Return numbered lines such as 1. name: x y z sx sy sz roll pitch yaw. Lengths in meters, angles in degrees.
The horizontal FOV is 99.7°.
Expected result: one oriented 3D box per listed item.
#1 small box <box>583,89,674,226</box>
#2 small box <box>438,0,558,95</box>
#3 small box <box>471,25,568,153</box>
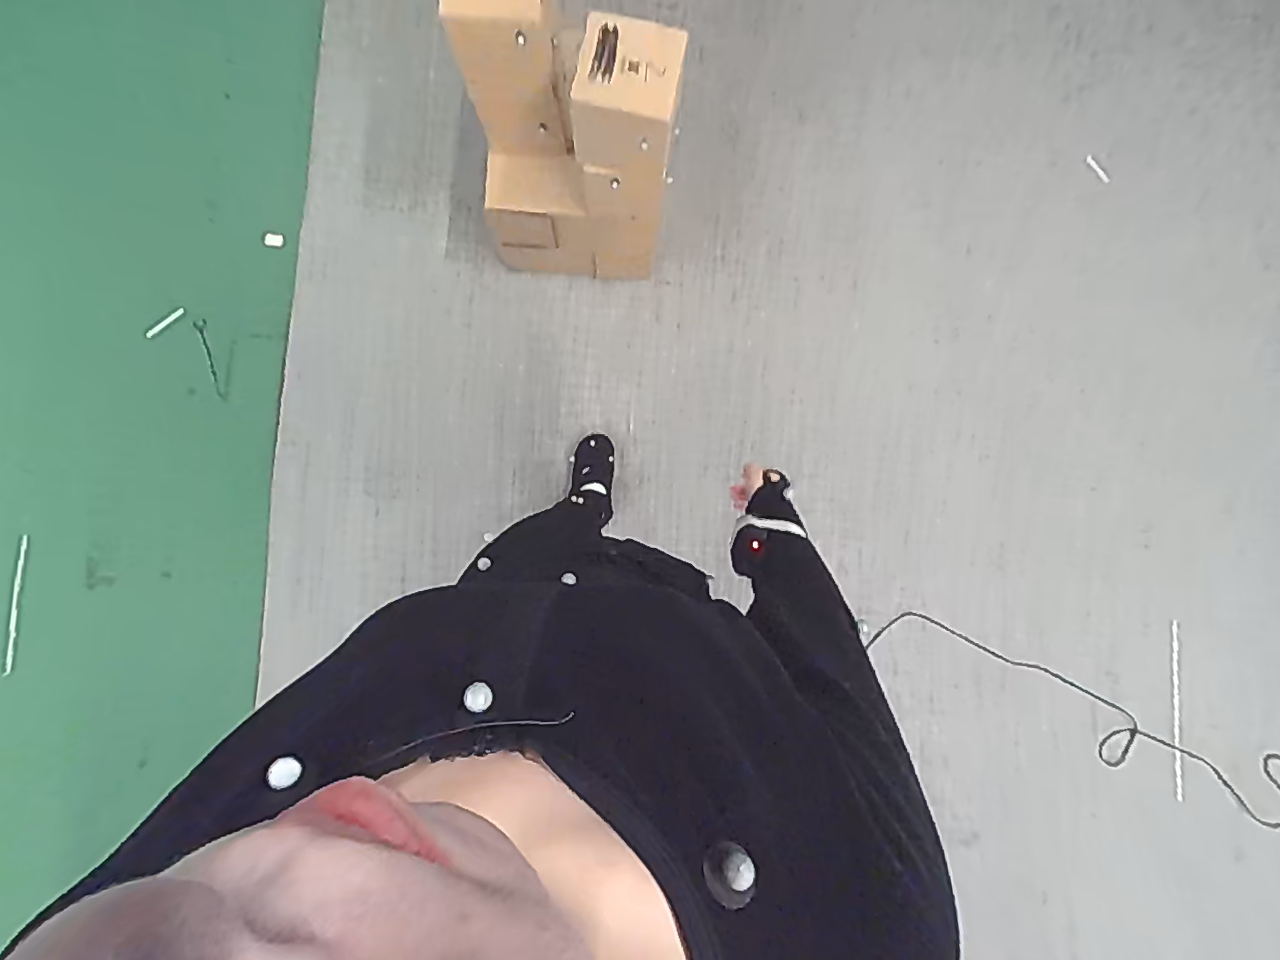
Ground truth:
1. small box: -0.027 -0.681 1.156 0.168 0.176 0.179 7 85 -1
2. small box: -0.254 -0.856 1.003 0.179 0.176 0.168 2 84 -2
3. small box: -0.251 -0.837 1.165 0.179 0.176 0.168 1 84 -1
